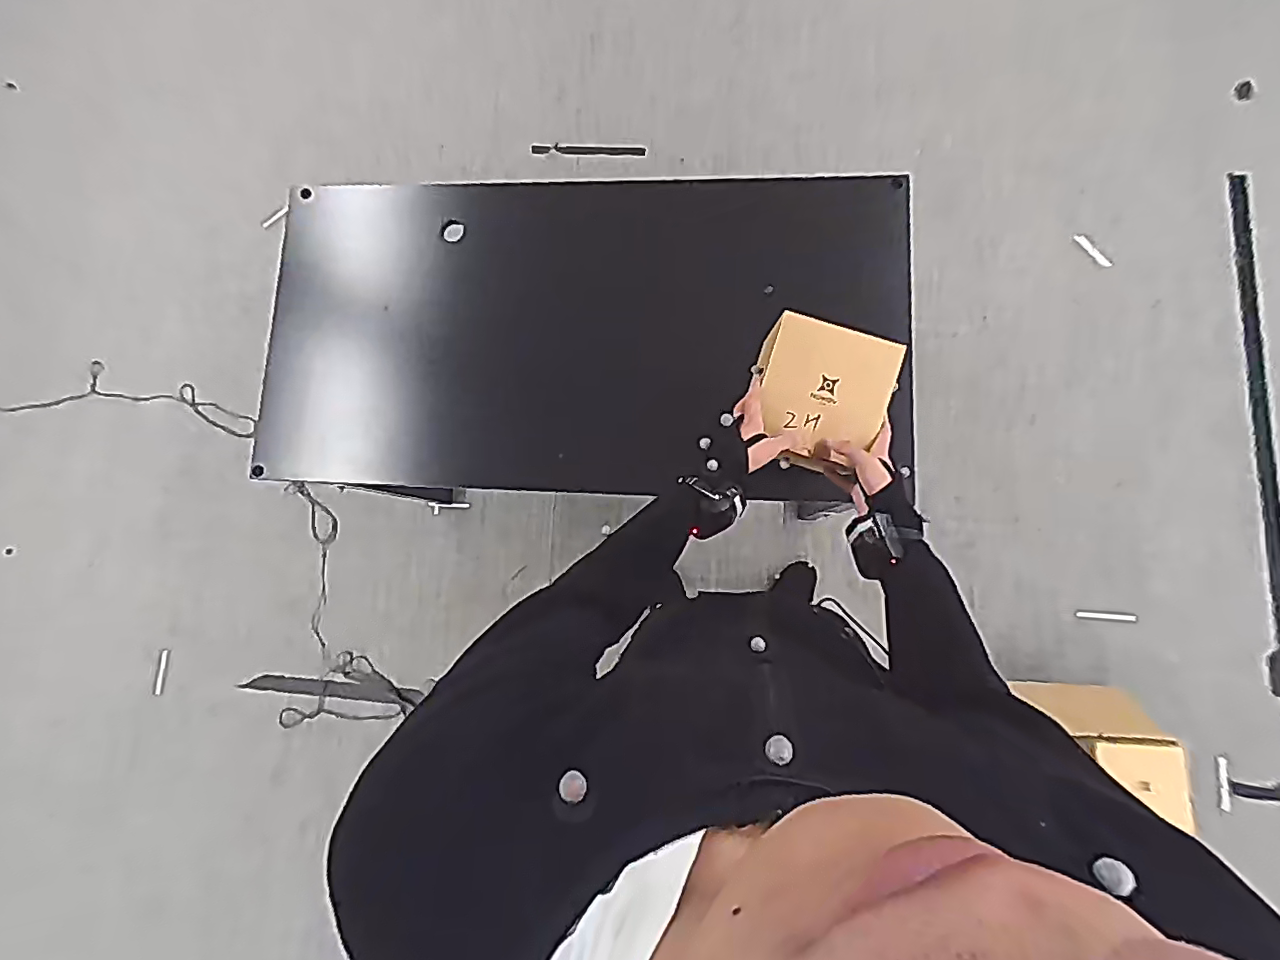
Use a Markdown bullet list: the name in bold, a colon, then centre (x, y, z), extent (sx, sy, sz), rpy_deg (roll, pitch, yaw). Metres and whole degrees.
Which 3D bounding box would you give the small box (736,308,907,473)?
- **small box**: centre (0.245, -0.117, 0.778), extent (0.168, 0.176, 0.179), rpy_deg (18, 92, 4)
